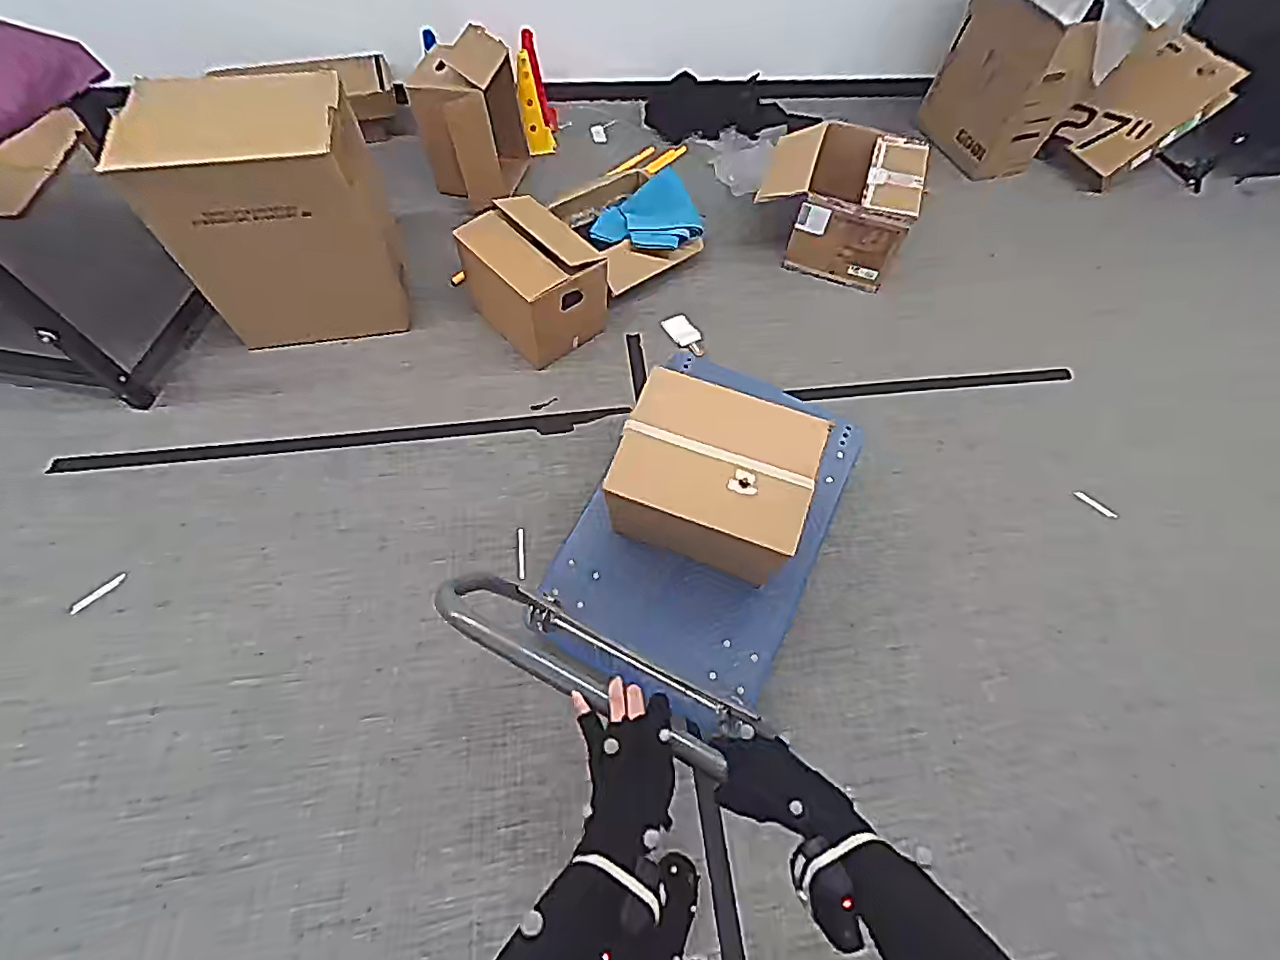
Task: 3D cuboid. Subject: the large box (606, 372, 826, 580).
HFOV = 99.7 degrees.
[{"bbox_3d":[0.162,0.004,1.264,0.408,0.320,0.320,18,71,7],"label":"large box"}]
